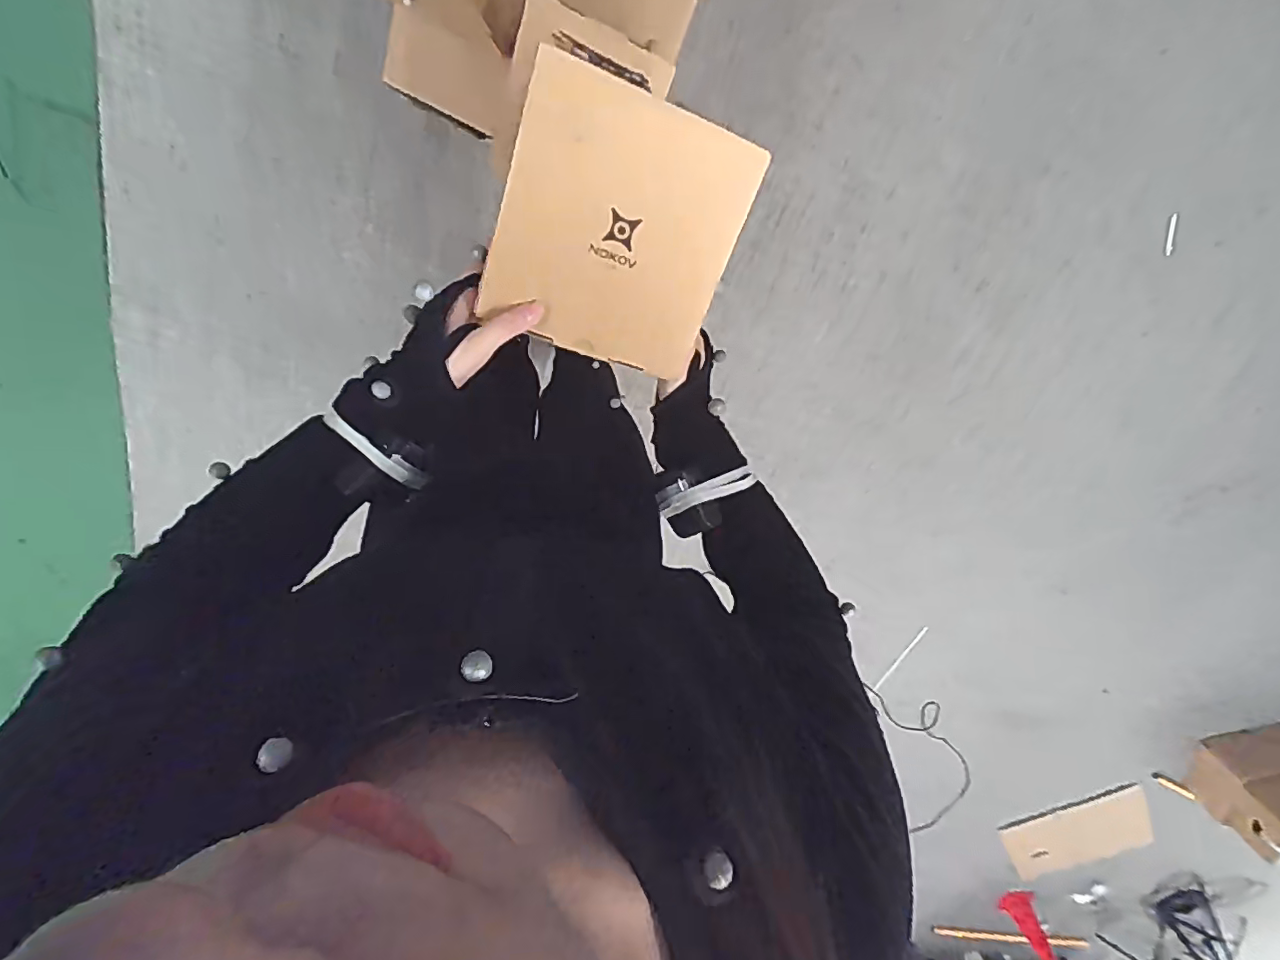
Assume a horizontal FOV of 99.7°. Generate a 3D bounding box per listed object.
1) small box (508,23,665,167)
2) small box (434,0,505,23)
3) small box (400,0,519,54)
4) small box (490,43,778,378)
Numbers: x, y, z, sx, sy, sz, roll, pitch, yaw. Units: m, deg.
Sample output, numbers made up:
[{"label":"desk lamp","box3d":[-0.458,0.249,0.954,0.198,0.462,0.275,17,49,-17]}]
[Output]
[{"label":"small box","box3d":[-0.081,-0.525,0.803,0.179,0.176,0.168,17,116,-14]},{"label":"small box","box3d":[-0.224,-0.614,0.550,0.179,0.176,0.168,18,116,-13]},{"label":"small box","box3d":[-0.240,-0.699,0.693,0.168,0.176,0.179,19,115,-14]},{"label":"small box","box3d":[-0.018,-0.214,0.454,0.168,0.176,0.179,14,117,-16]}]
